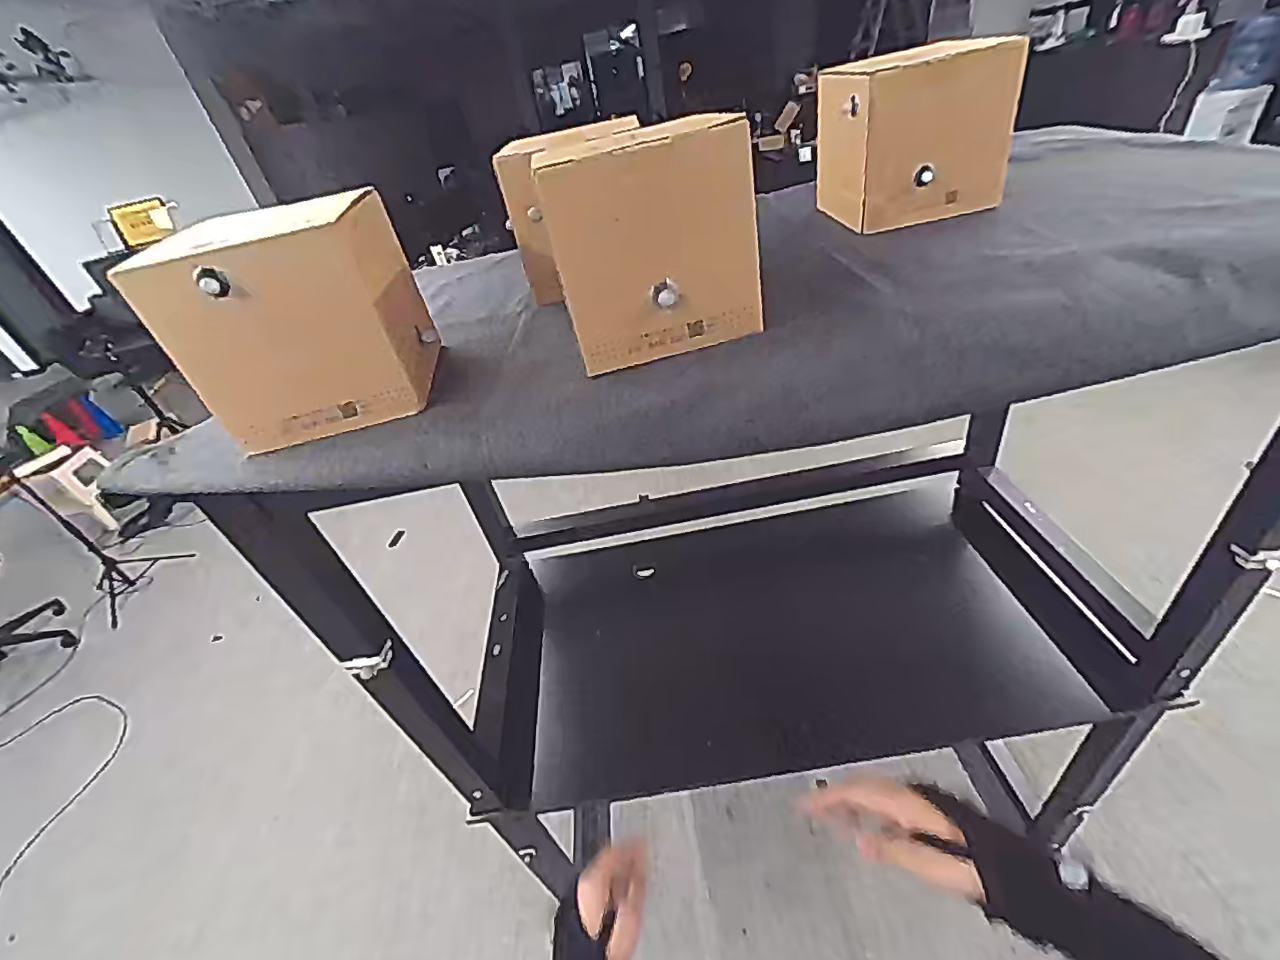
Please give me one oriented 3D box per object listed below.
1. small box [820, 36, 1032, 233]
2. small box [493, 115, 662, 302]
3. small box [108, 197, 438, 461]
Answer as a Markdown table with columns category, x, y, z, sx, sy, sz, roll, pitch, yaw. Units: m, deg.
| category | x | y | z | sx | sy | sz | roll | pitch | yaw |
| --- | --- | --- | --- | --- | --- | --- | --- | --- | --- |
| small box | 0.330 | -0.423 | 0.671 | 0.168 | 0.176 | 0.179 | -11 | 38 | 3 |
| small box | -0.068 | -0.338 | 0.685 | 0.168 | 0.176 | 0.179 | -9 | 38 | 4 |
| small box | -0.303 | -0.143 | 0.501 | 0.168 | 0.176 | 0.179 | -15 | 37 | -3 |
